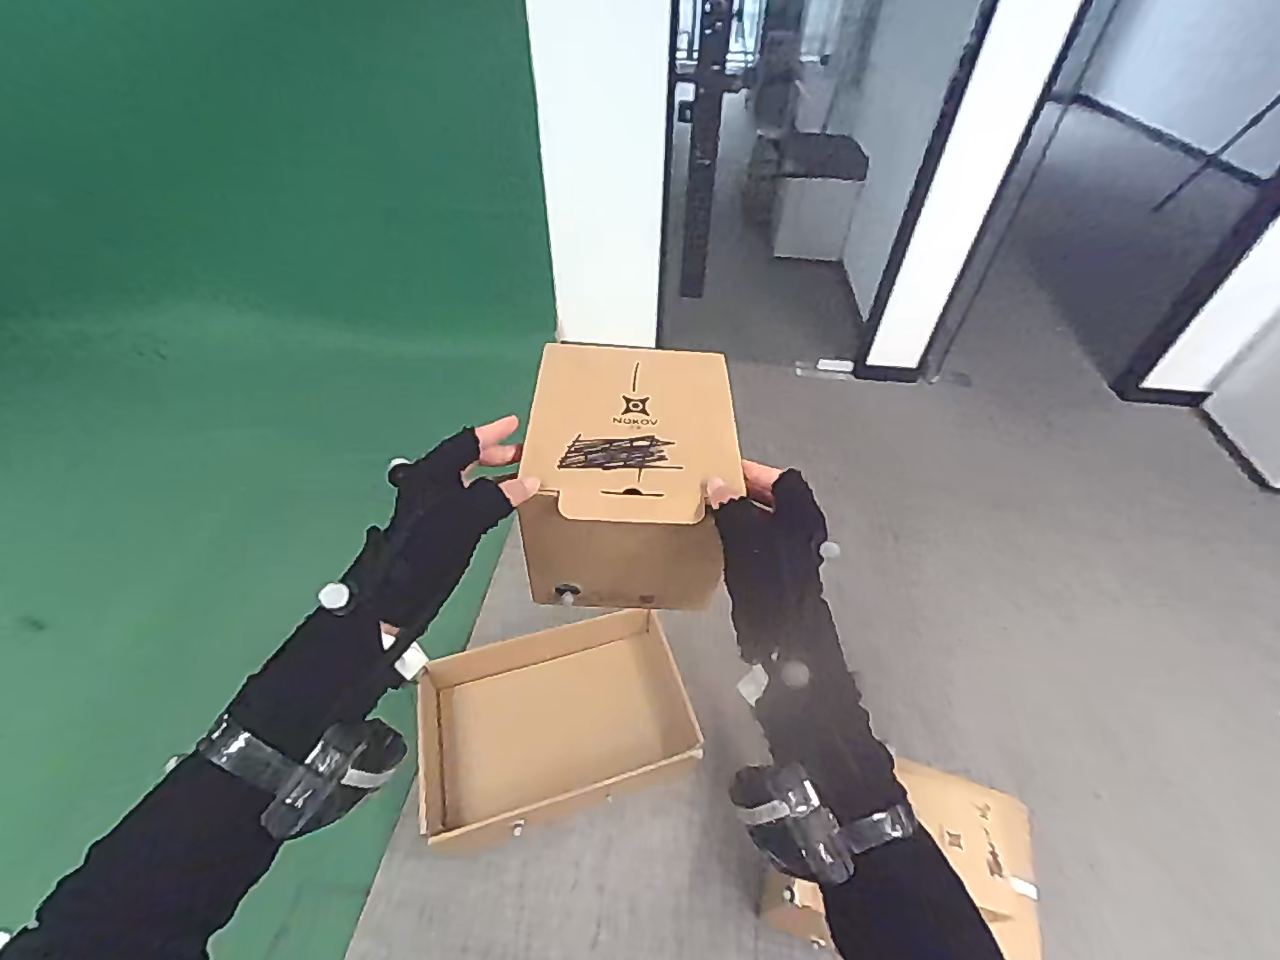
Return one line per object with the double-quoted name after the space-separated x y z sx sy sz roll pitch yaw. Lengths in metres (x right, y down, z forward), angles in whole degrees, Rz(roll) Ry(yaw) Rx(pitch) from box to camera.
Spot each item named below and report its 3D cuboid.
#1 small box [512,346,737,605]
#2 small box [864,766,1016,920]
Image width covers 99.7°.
-0.013 0.000 0.498 0.168 0.176 0.179 3 49 -3 "small box"
0.488 0.616 0.915 0.179 0.176 0.168 10 47 10 "small box"
